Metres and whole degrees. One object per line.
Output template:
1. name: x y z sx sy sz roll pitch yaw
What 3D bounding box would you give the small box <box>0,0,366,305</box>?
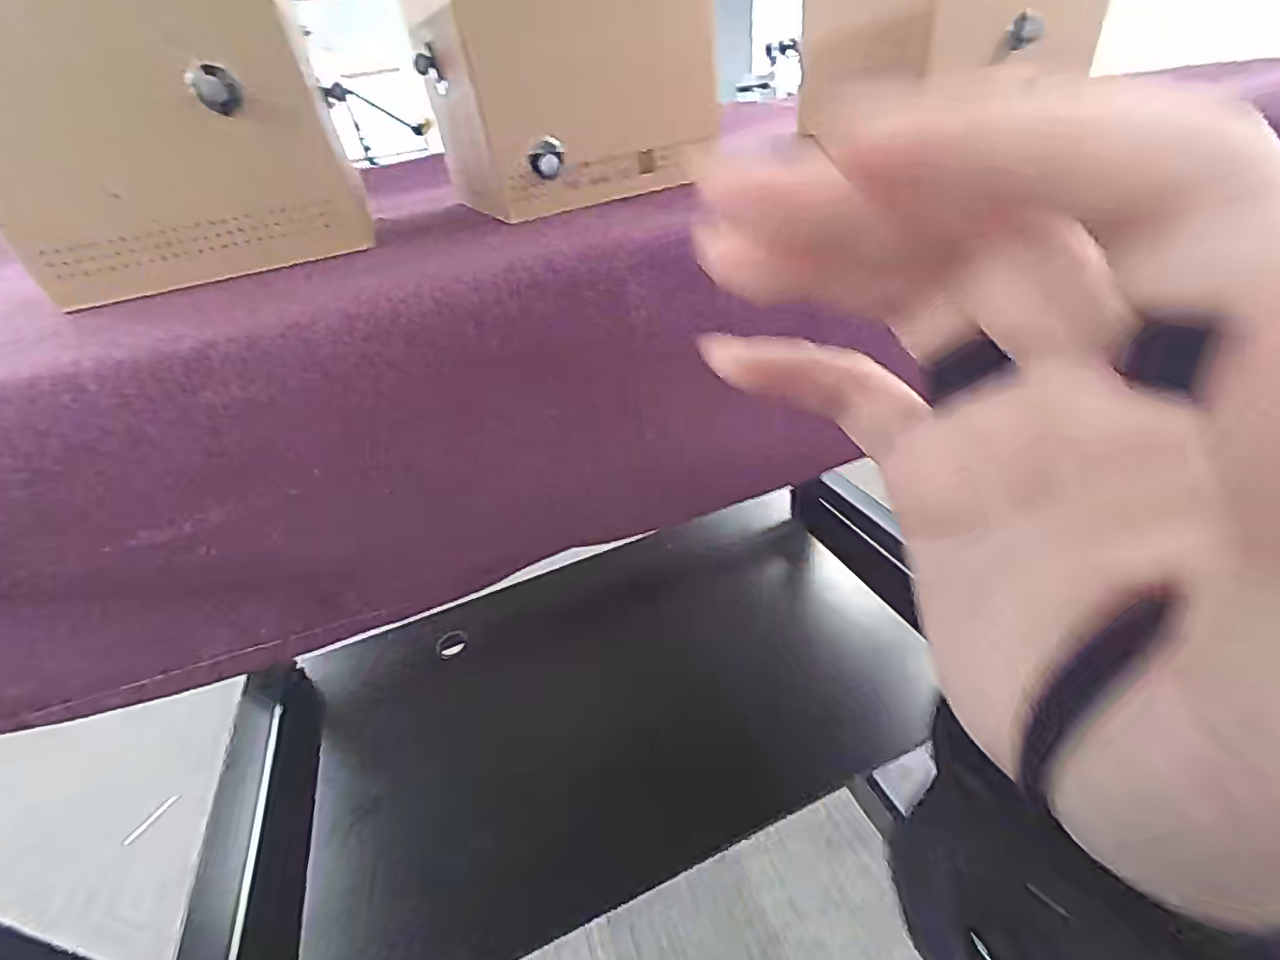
1. small box: -0.290 -0.226 0.333 0.179 0.176 0.168 -19 36 -13

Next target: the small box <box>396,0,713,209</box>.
1. small box: -0.062 -0.300 0.380 0.168 0.176 0.179 -22 36 -17
